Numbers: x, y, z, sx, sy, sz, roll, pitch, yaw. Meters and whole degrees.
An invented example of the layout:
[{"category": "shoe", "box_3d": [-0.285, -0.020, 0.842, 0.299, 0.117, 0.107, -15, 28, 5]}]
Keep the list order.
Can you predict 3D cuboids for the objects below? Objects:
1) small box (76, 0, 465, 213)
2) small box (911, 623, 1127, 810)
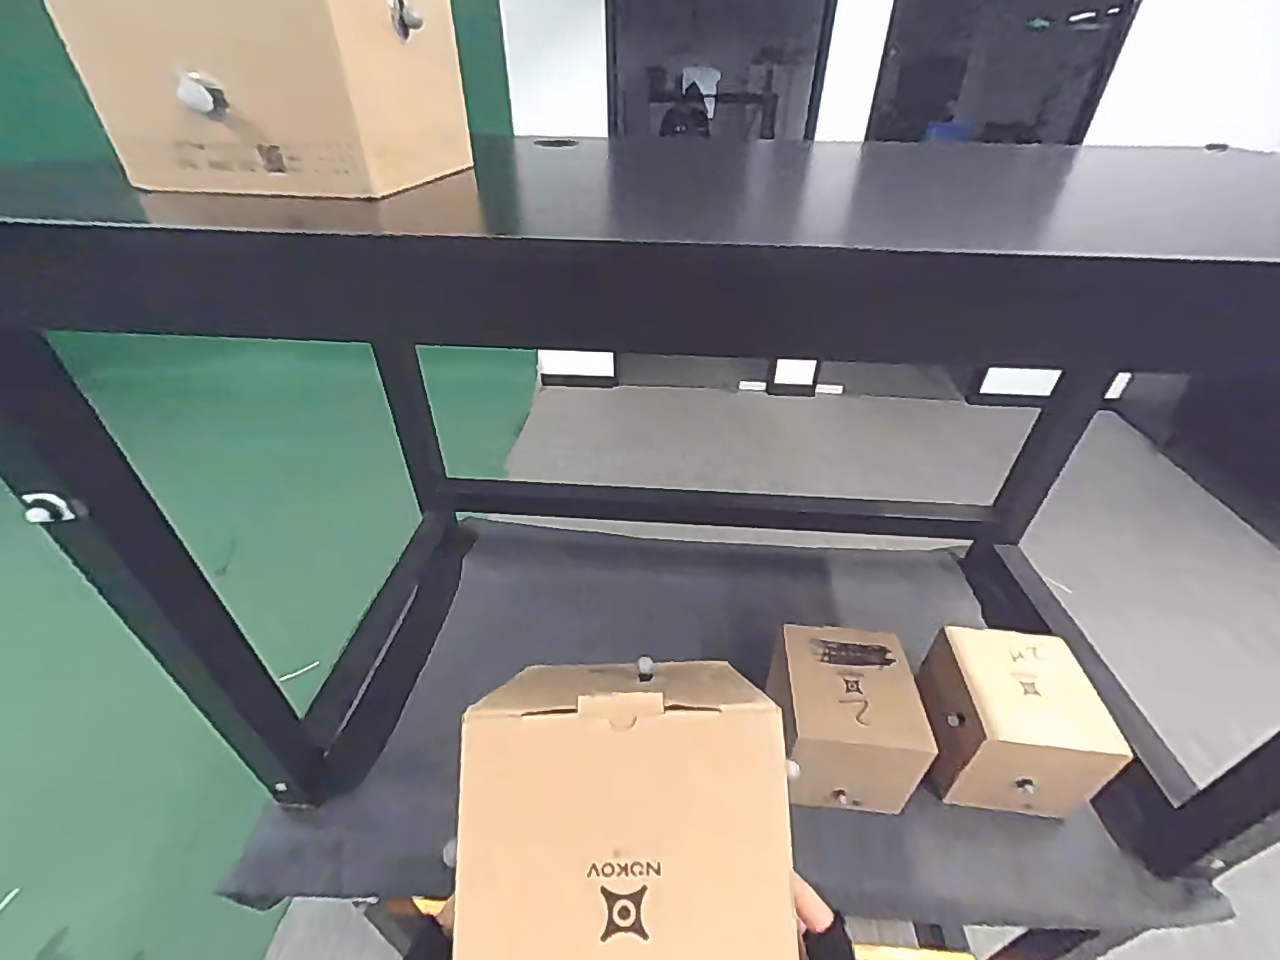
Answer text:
[{"category": "small box", "box_3d": [-0.232, -0.293, 0.367, 0.168, 0.176, 0.179, 4, 37, 4]}, {"category": "small box", "box_3d": [0.507, 0.331, 0.758, 0.168, 0.176, 0.179, 5, 36, 6]}]
